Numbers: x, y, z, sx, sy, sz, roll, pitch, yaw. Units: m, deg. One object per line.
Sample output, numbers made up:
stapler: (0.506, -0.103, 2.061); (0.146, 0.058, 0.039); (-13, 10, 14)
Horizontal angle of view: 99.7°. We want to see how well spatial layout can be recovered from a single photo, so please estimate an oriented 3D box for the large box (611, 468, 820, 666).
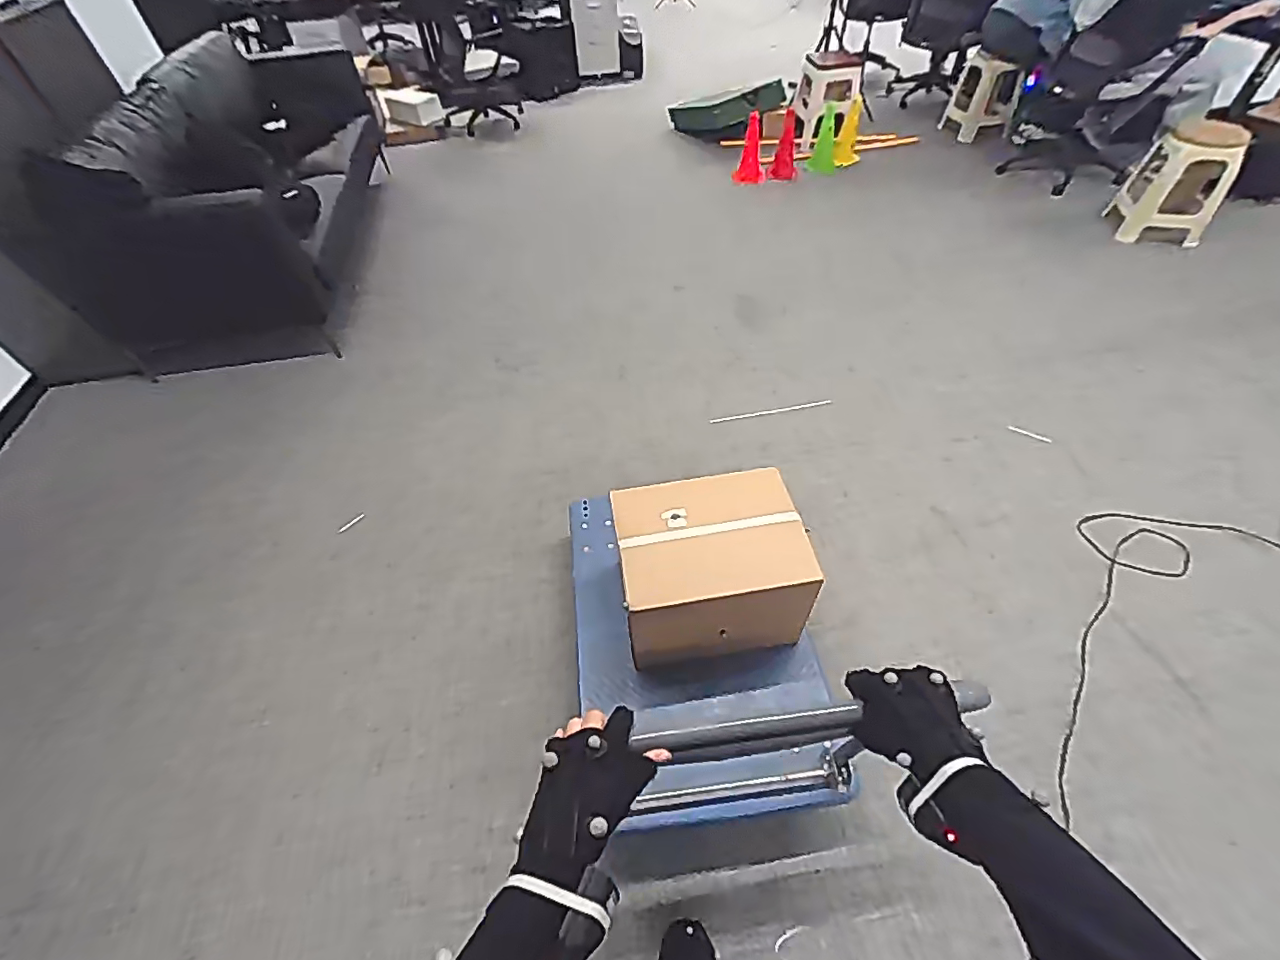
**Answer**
large box: (0.164, 0.214, 1.307); (0.408, 0.320, 0.320); (-10, 50, -3)
